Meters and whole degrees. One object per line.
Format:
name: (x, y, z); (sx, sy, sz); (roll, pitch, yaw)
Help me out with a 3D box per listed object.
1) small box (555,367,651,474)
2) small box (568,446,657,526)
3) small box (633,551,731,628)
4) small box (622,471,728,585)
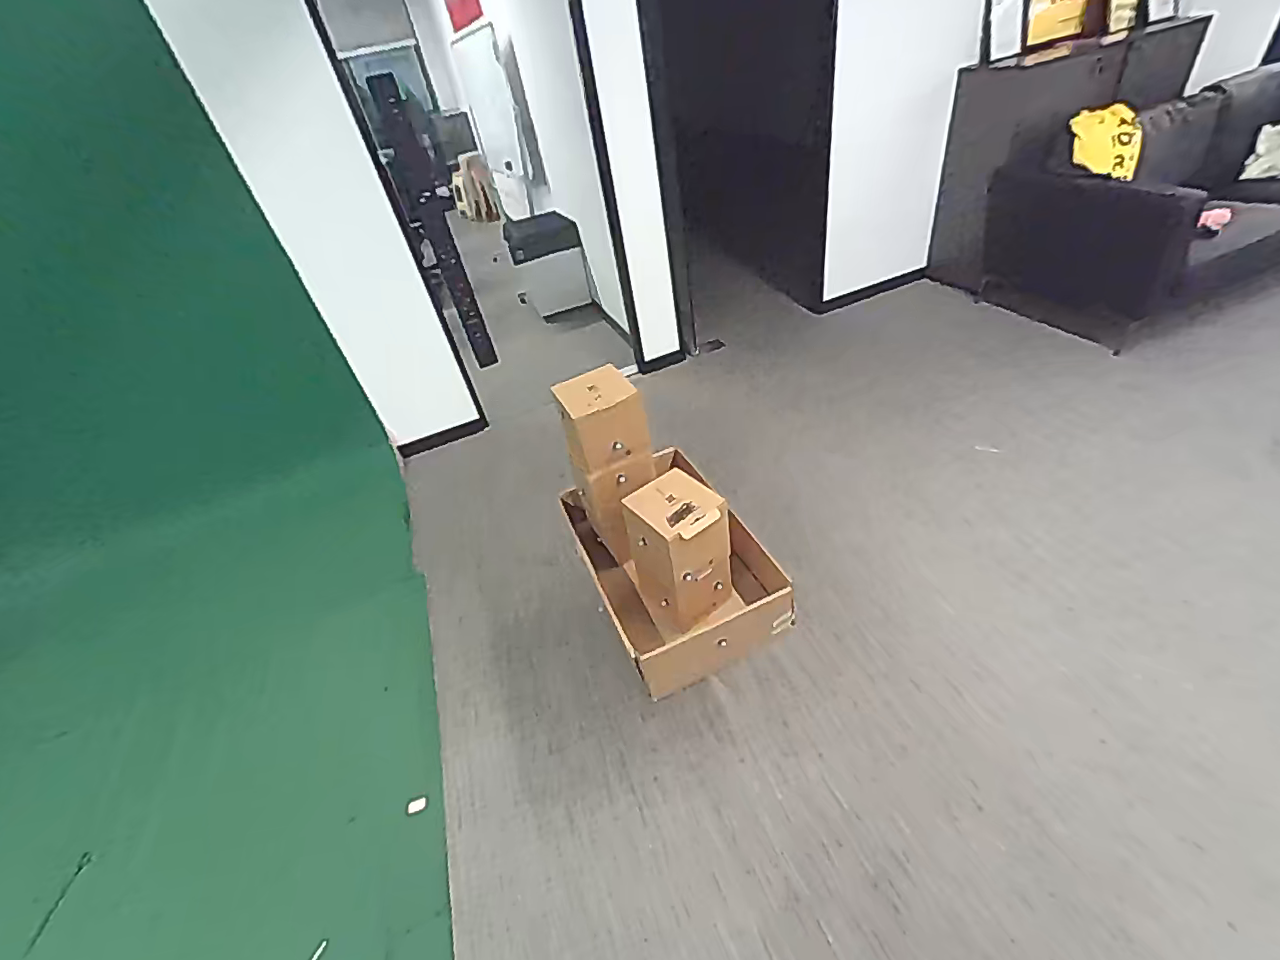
small box: (-0.090, -0.145, 1.322); (0.168, 0.176, 0.179); (-24, 42, -12)
small box: (-0.064, -0.013, 1.419); (0.179, 0.176, 0.168); (-25, 41, -14)
small box: (0.109, 0.238, 1.336); (0.168, 0.176, 0.179); (-30, 42, -22)
small box: (0.085, 0.114, 1.231); (0.168, 0.176, 0.179); (-30, 42, -22)
